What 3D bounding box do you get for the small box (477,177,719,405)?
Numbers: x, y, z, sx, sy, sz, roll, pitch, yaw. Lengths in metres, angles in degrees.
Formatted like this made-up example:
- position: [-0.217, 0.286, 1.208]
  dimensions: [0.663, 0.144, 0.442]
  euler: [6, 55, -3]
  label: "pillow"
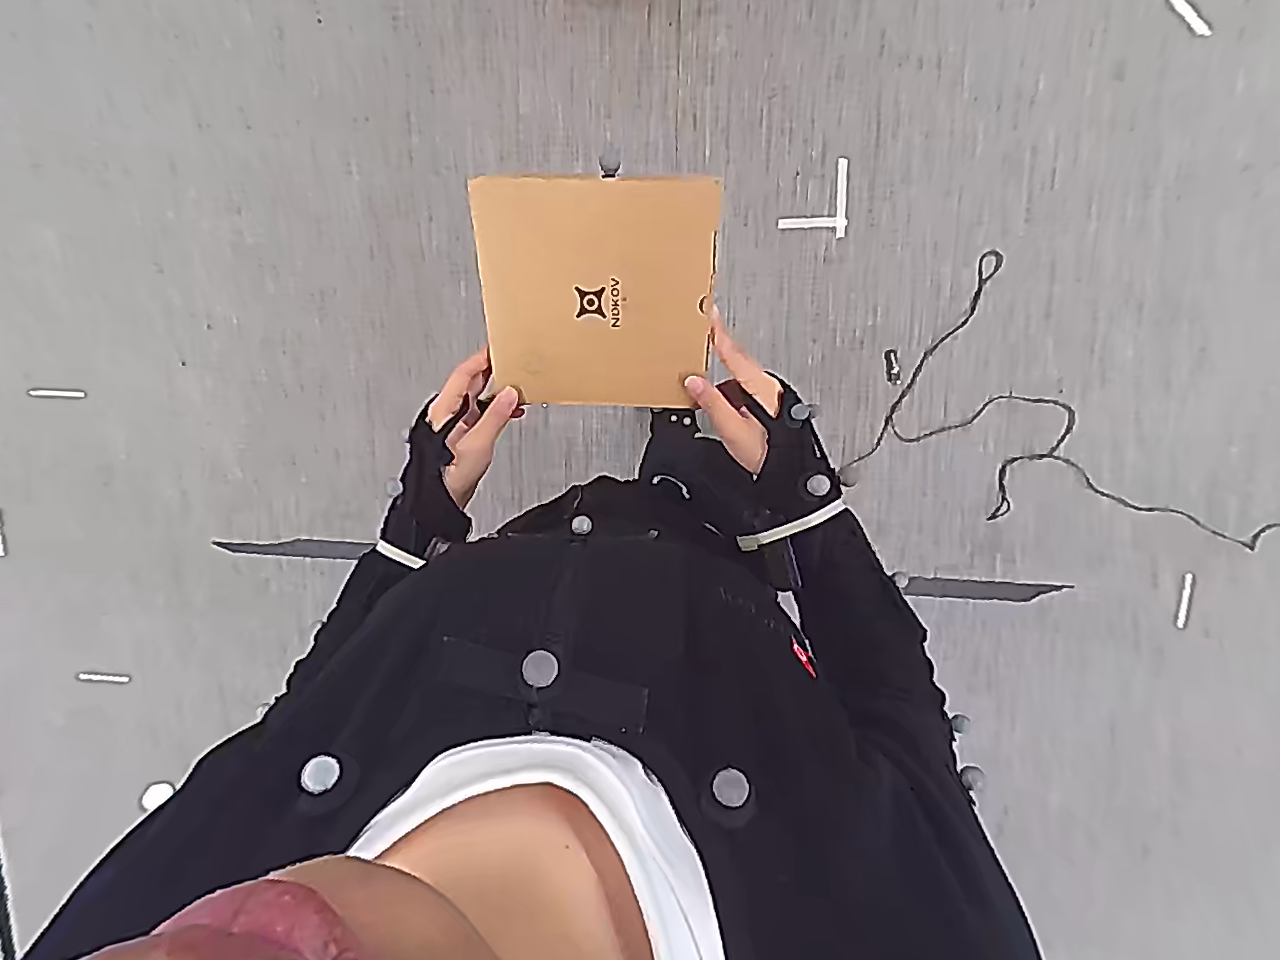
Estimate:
- position: [-0.028, -0.176, 0.488]
  dimensions: [0.179, 0.176, 0.168]
  euler: [2, 119, 2]
  label: "small box"
